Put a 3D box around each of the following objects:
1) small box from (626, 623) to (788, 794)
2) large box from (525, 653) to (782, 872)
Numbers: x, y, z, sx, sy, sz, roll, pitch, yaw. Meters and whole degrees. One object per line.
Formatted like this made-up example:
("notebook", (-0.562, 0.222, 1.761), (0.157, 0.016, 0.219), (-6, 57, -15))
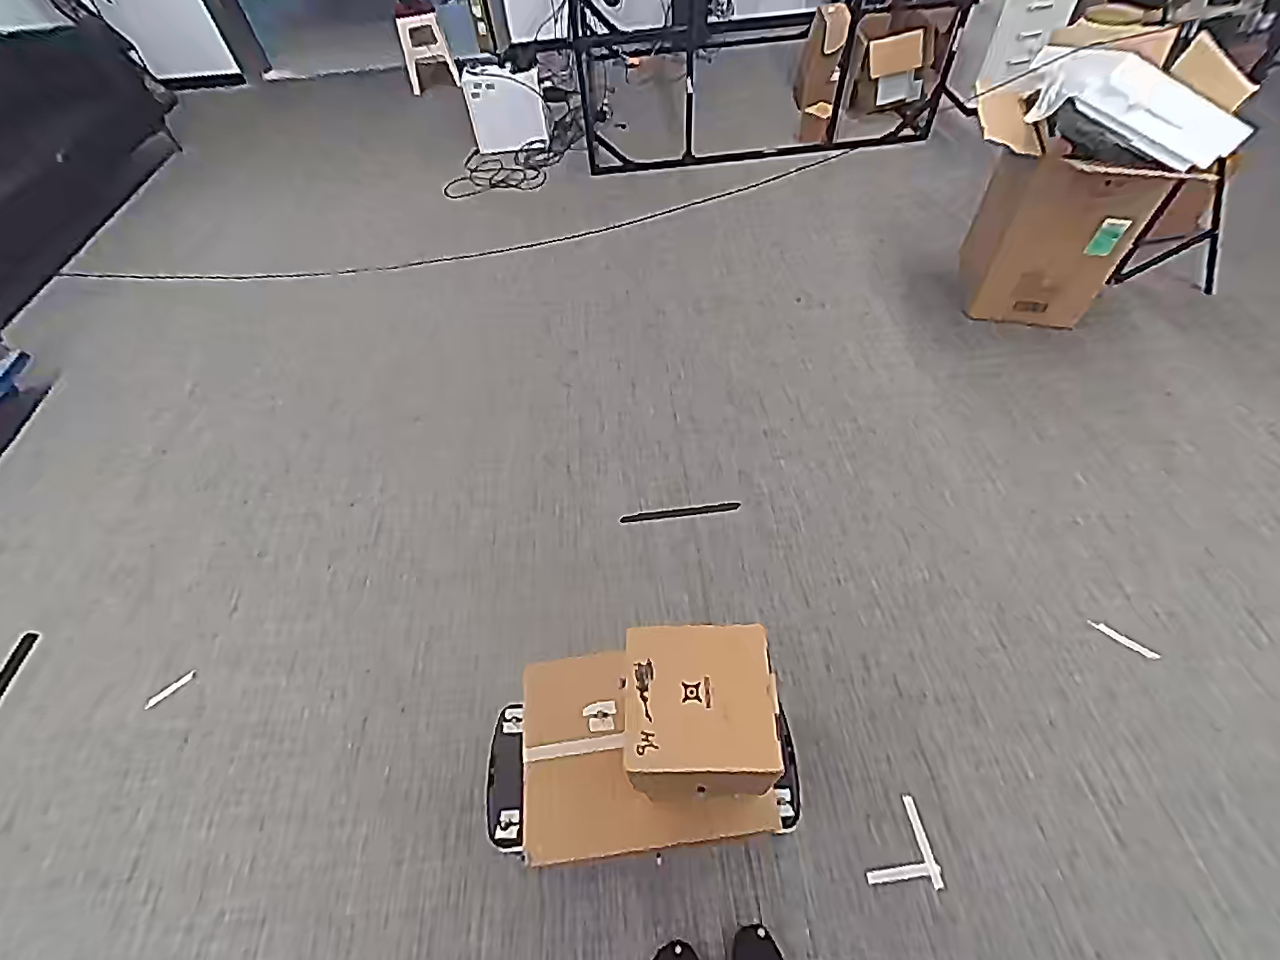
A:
("small box", (0.077, 0.293, 0.689), (0.179, 0.176, 0.168), (-1, 52, 3))
("large box", (0.017, 0.528, 1.030), (0.408, 0.320, 0.320), (-9, 52, 0))
